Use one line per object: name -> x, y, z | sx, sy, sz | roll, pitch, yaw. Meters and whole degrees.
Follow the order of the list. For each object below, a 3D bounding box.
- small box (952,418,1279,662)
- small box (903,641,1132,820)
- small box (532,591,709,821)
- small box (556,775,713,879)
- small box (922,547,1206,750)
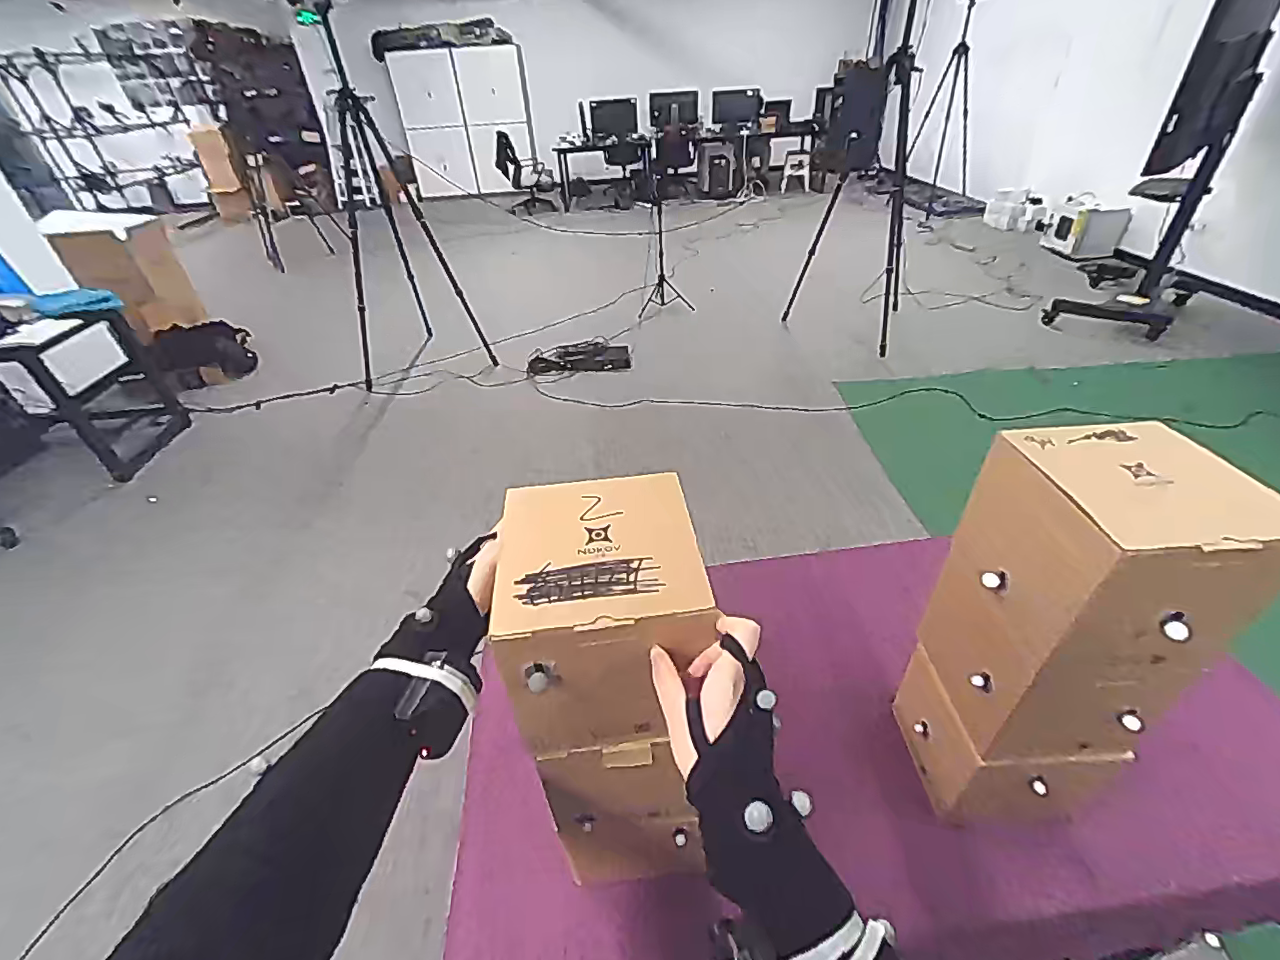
small box -> 0.441, 0.061, 0.523 | 0.168, 0.176, 0.179 | -3, 38, 1
small box -> 0.469, 0.326, 0.713 | 0.179, 0.176, 0.168 | -4, 38, 2
small box -> -0.018, 0.252, 0.600 | 0.168, 0.176, 0.179 | -6, 36, -2
small box -> -0.005, 0.385, 0.696 | 0.179, 0.176, 0.168 | -6, 37, -2
small box -> 0.456, 0.191, 0.622 | 0.168, 0.176, 0.179 | -3, 36, 2
